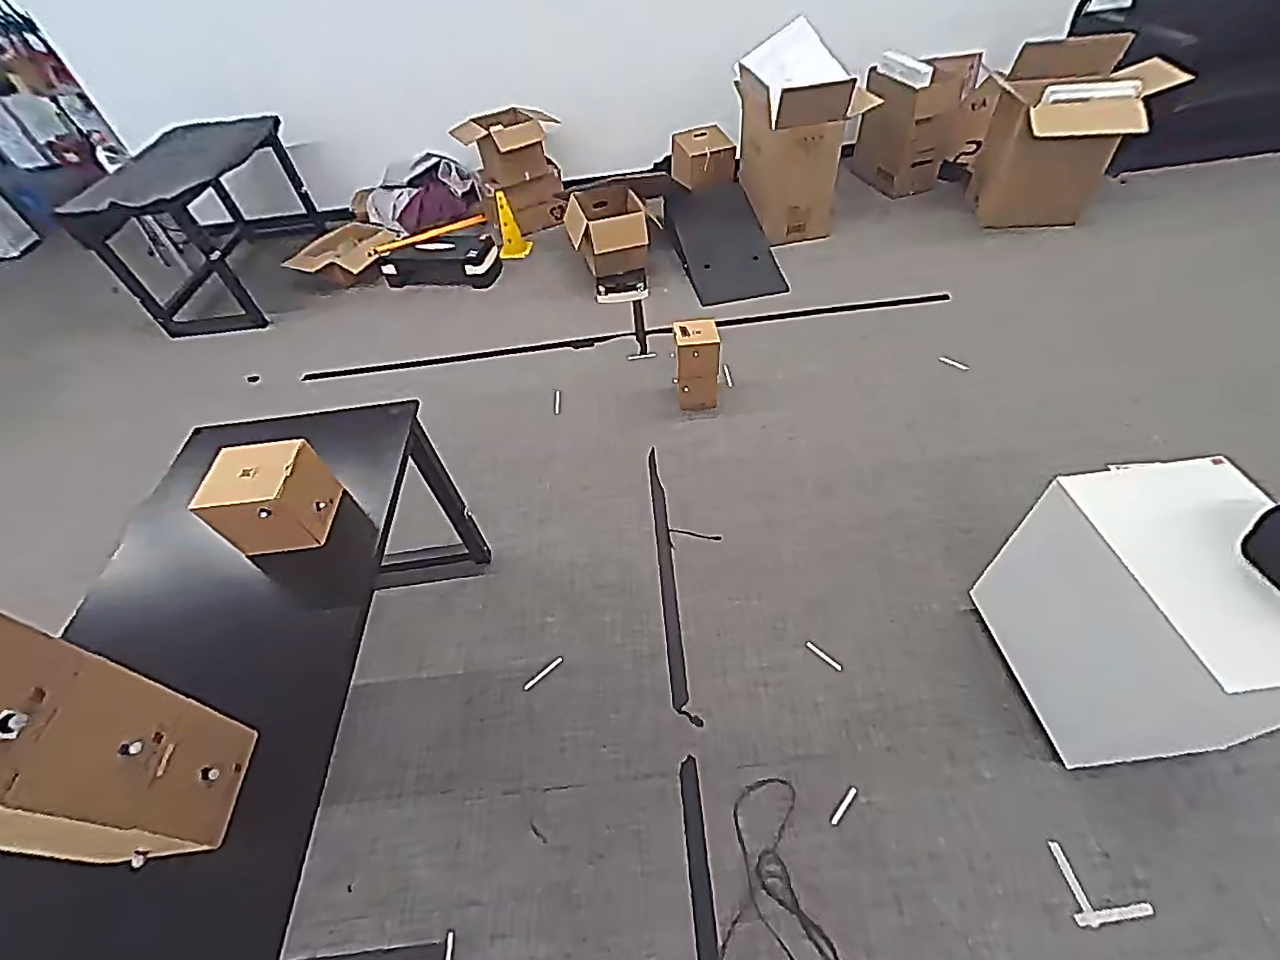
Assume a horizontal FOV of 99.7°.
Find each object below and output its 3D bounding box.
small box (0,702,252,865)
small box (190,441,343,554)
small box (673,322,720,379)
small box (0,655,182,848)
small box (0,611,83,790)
[{"bbox_3d":[-0.717,0.442,0.783,0.179,0.176,0.168,-8,49,-1],"label":"small box"},{"bbox_3d":[-0.770,0.041,1.137,0.179,0.176,0.168,-7,49,0],"label":"small box"},{"bbox_3d":[0.236,-0.538,2.262,0.179,0.176,0.168,-6,49,0],"label":"small box"},{"bbox_3d":[-0.733,0.334,0.659,0.179,0.176,0.168,-8,50,0],"label":"small box"},{"bbox_3d":[-0.747,0.228,0.537,0.179,0.176,0.168,-8,50,-1],"label":"small box"}]
